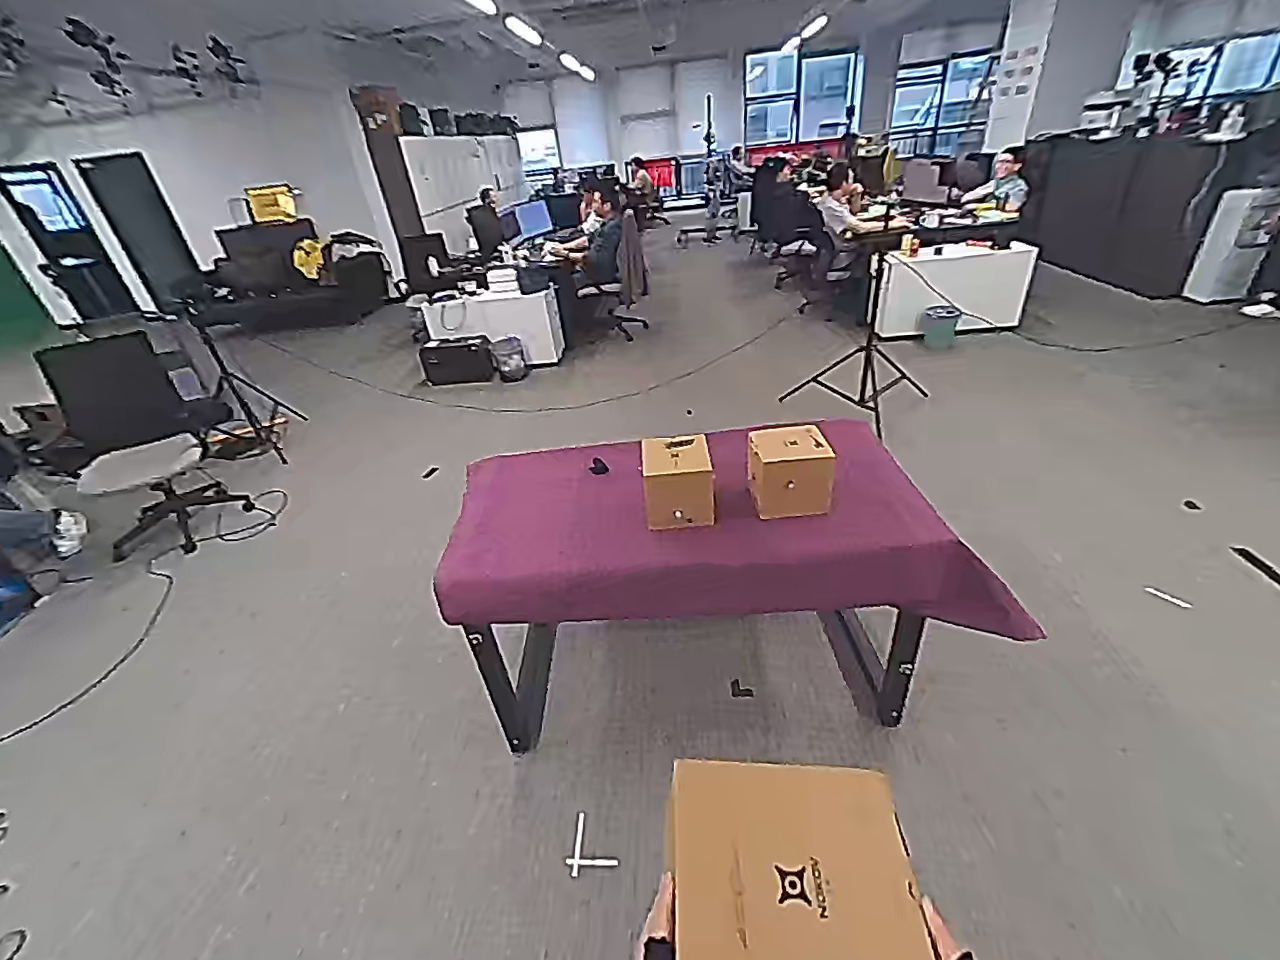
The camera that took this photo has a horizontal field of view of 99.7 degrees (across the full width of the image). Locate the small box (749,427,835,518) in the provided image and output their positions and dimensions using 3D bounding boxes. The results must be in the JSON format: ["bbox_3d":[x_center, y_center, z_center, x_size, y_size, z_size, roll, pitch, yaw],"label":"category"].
[{"bbox_3d":[0.381,-0.016,1.372,0.179,0.176,0.168,-6,32,3],"label":"small box"}]

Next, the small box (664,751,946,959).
[{"bbox_3d":[0.112,0.342,0.435,0.179,0.176,0.168,2,39,1],"label":"small box"}]

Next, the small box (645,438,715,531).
[{"bbox_3d":[0.102,0.010,1.385,0.168,0.176,0.179,-5,32,3],"label":"small box"}]
